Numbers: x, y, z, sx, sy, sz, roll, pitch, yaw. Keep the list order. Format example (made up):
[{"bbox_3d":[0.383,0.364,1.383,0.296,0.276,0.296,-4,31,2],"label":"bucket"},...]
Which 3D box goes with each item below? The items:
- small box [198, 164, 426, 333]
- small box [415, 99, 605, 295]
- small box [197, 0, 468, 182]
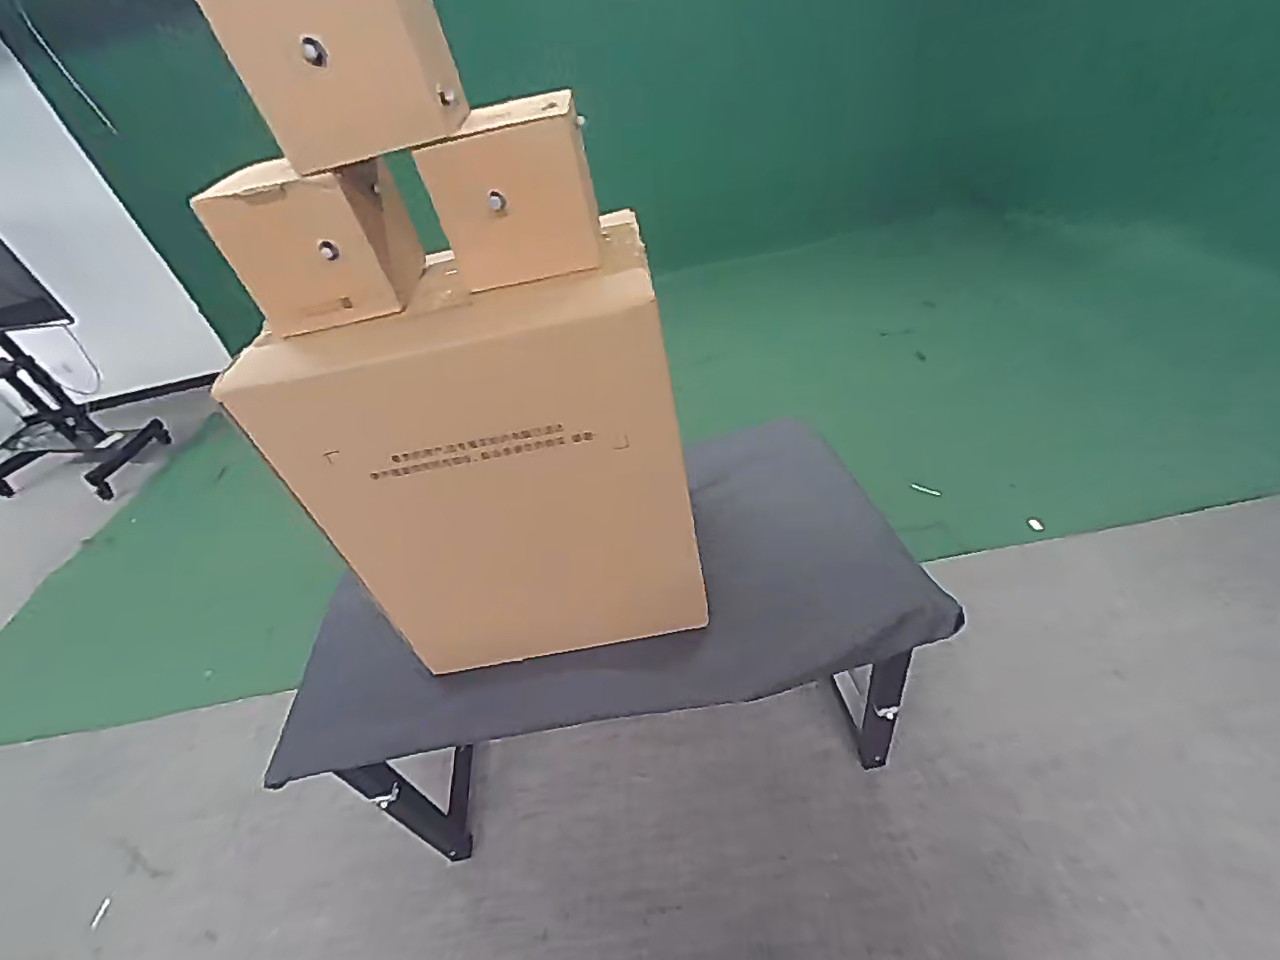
[{"bbox_3d":[-0.401,-0.304,0.704,0.168,0.176,0.179,-11,41,2],"label":"small box"},{"bbox_3d":[-0.150,-0.357,0.690,0.179,0.176,0.168,-11,43,5],"label":"small box"},{"bbox_3d":[-0.307,-0.449,0.587,0.179,0.176,0.168,-13,42,4],"label":"small box"}]
